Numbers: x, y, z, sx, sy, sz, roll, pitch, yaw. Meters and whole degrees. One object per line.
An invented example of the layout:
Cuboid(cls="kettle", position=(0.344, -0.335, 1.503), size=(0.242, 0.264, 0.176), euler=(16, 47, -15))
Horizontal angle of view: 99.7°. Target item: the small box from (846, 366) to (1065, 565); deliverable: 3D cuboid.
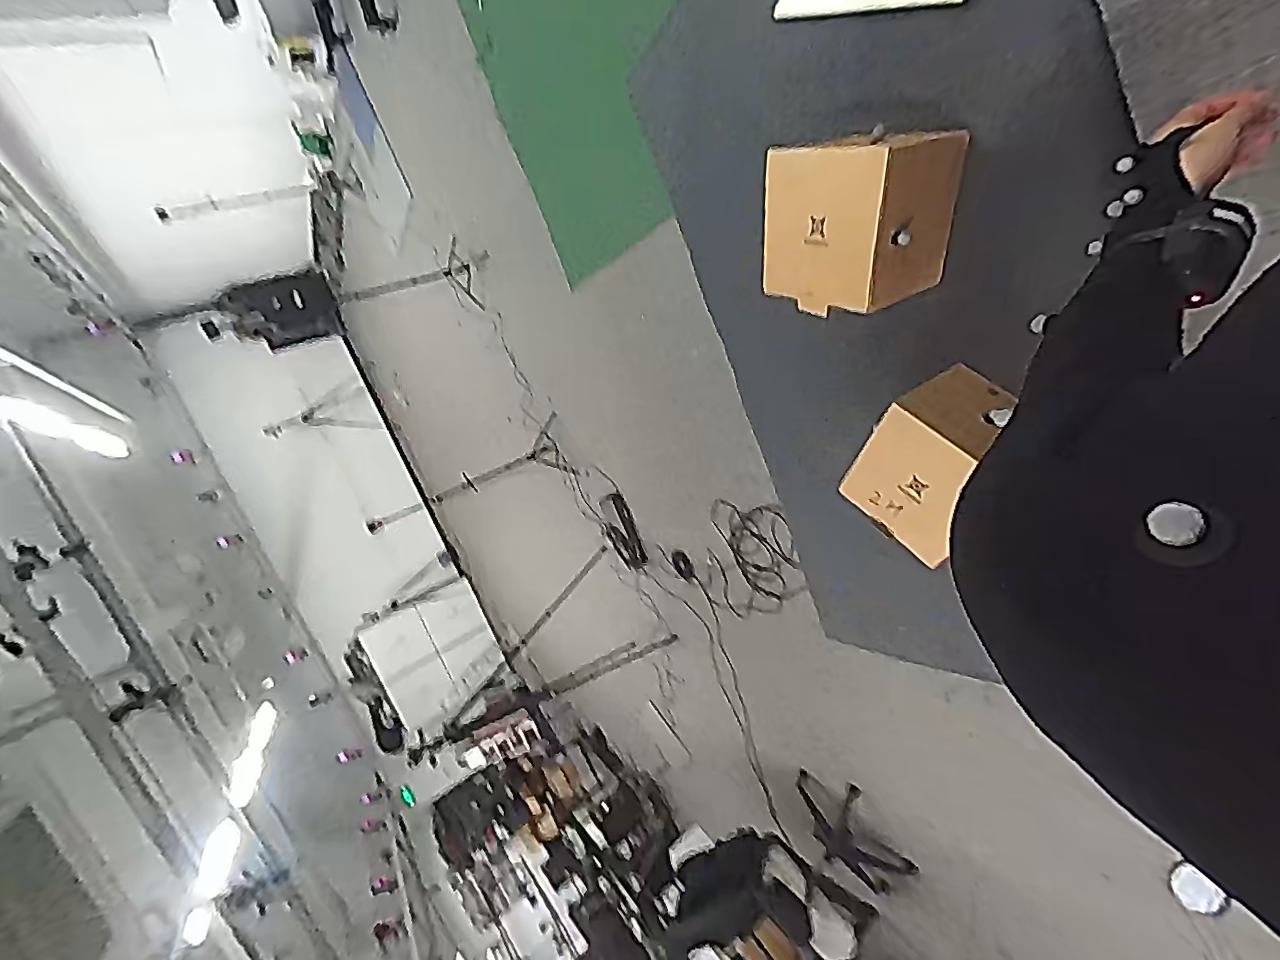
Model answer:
Cuboid(cls="small box", position=(0.422, -0.026, 0.729), size=(0.168, 0.176, 0.179), euler=(46, 148, 27))

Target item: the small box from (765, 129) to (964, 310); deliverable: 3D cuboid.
Cuboid(cls="small box", position=(0.281, -0.338, 0.690), size=(0.168, 0.176, 0.179), euler=(32, 140, 43))
